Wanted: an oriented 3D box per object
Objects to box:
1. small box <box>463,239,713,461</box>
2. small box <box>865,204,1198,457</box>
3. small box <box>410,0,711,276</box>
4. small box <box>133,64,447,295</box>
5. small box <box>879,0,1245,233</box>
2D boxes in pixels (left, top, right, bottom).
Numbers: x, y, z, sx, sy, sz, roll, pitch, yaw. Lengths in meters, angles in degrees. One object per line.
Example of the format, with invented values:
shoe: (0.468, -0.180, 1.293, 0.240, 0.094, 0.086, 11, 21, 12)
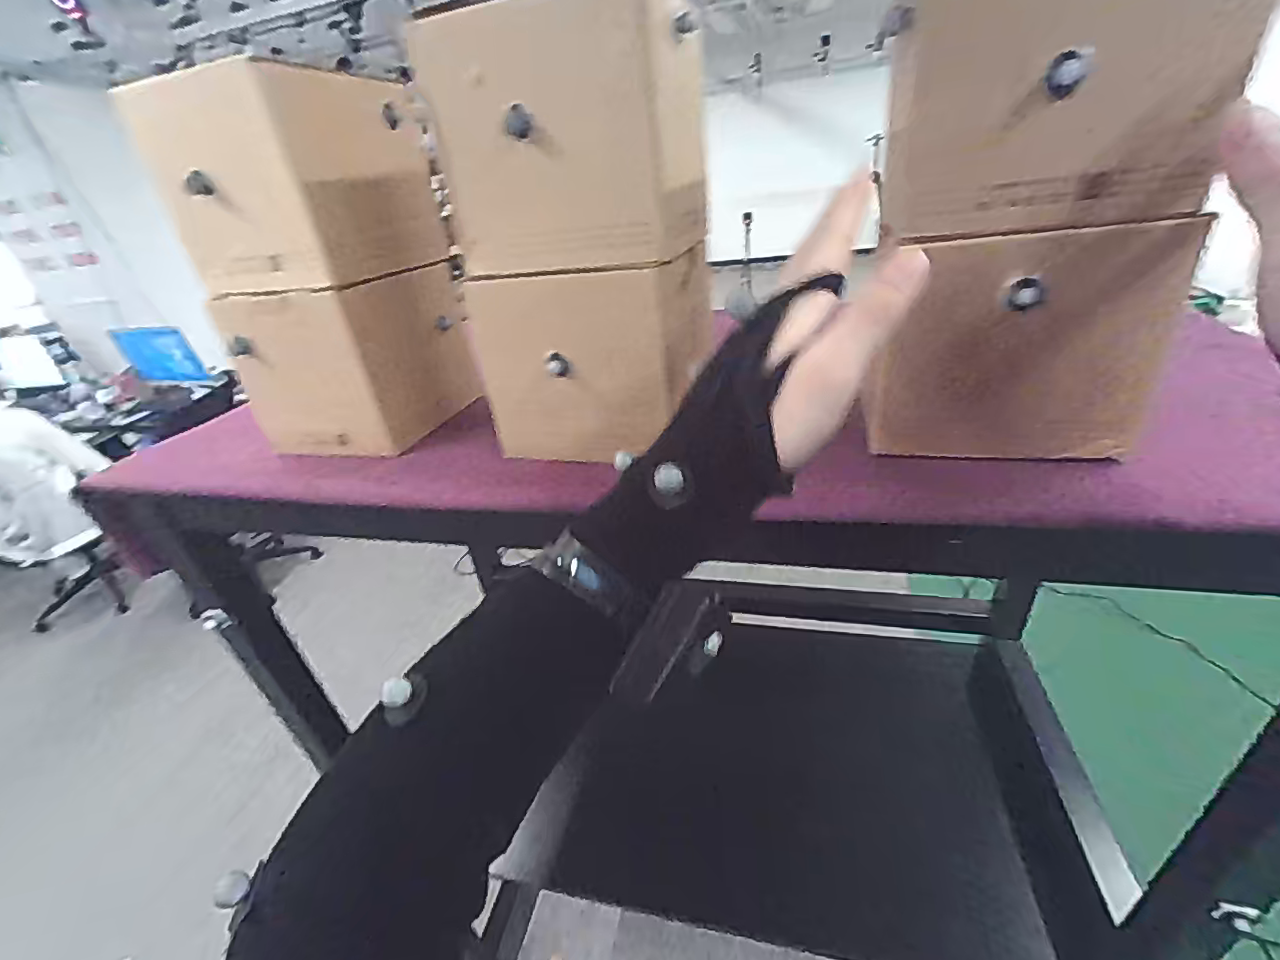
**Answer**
small box: (-0.032, -0.128, 0.526, 0.179, 0.176, 0.168, 3, 31, 21)
small box: (0.284, -0.128, 0.447, 0.179, 0.176, 0.168, 3, 31, 19)
small box: (-0.046, -0.273, 0.450, 0.179, 0.176, 0.168, 2, 31, 19)
small box: (-0.323, -0.285, 0.541, 0.168, 0.176, 0.179, 4, 30, 20)
small box: (0.263, -0.273, 0.373, 0.168, 0.176, 0.179, 3, 31, 19)
